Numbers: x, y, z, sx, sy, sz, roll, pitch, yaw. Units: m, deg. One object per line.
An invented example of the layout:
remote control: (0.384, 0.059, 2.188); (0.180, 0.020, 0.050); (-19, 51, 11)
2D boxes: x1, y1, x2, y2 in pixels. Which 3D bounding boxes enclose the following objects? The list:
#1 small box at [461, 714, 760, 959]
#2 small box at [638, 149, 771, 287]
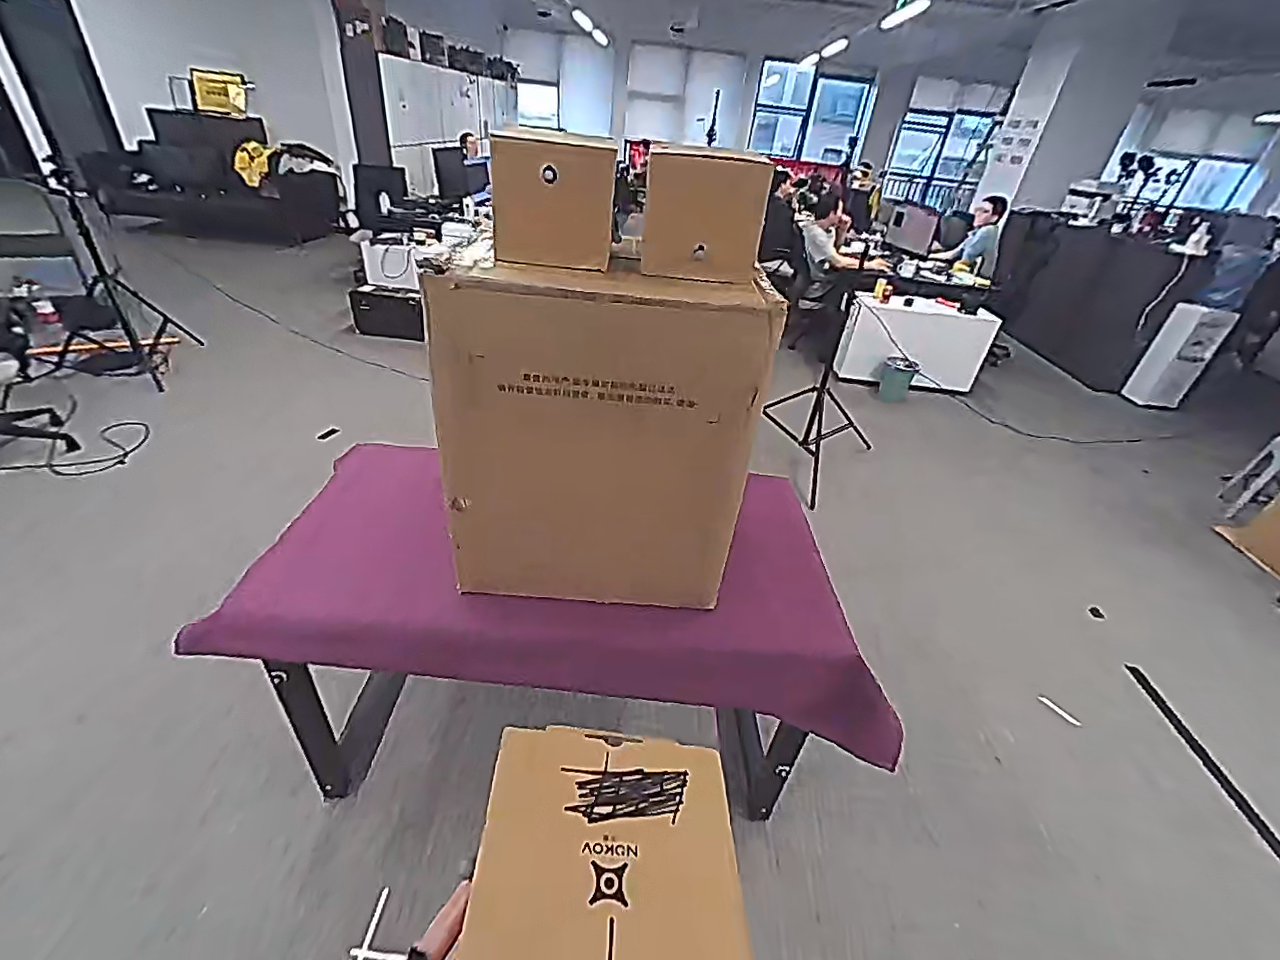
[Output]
small box: (-0.031, 0.299, 0.377); (0.168, 0.176, 0.179); (8, 29, -7)
small box: (0.094, -0.417, 0.865); (0.179, 0.176, 0.168); (5, 34, -1)
